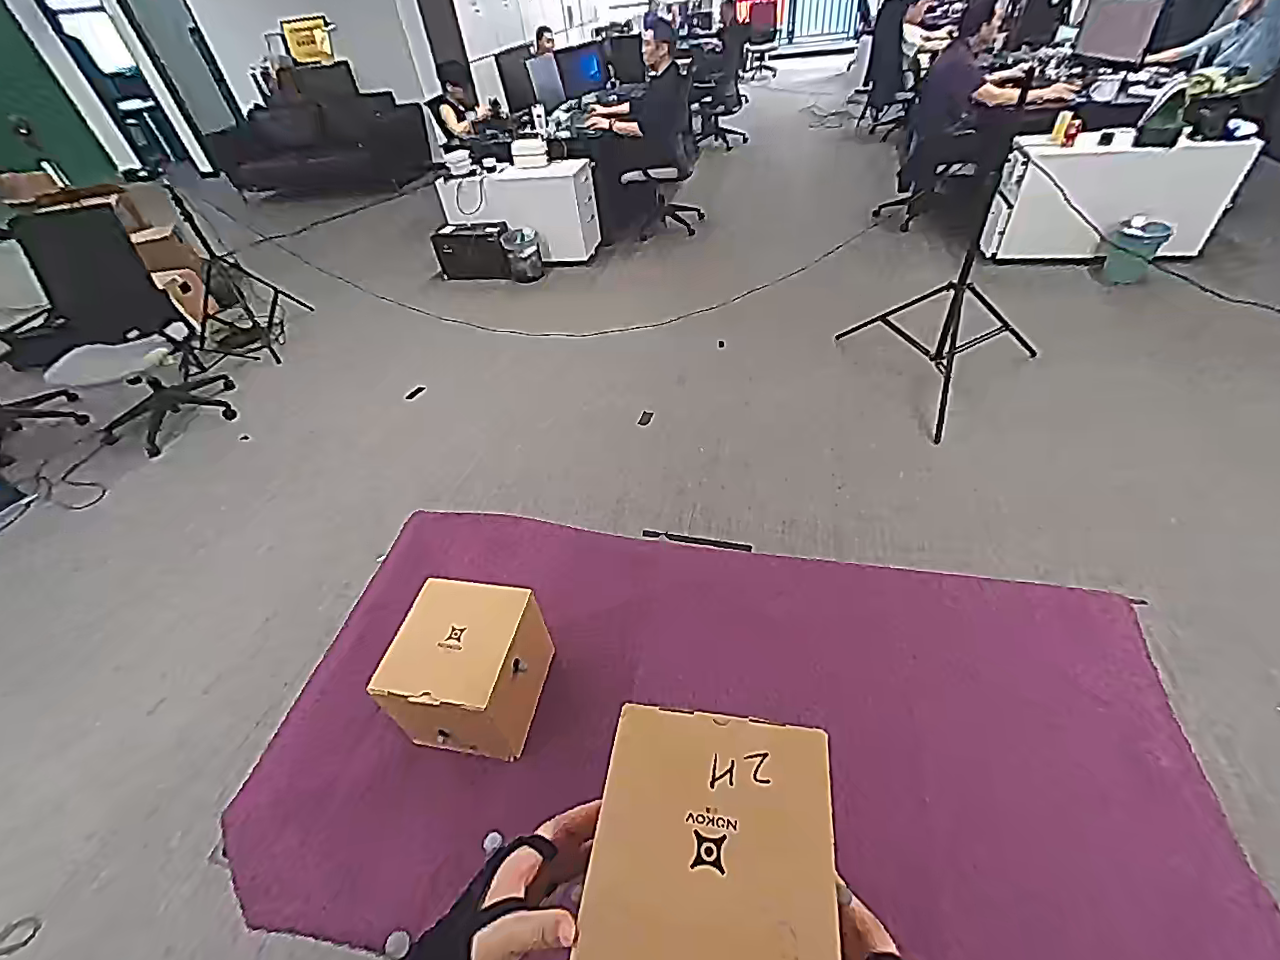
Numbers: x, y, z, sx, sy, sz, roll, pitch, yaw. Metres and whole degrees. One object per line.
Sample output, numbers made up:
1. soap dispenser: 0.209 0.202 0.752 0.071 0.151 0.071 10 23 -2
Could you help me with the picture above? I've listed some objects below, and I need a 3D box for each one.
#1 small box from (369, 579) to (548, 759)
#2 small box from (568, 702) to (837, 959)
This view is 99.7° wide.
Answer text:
1. small box: -0.241 0.269 0.775 0.168 0.176 0.179 4 45 11
2. small box: 0.058 0.307 0.428 0.168 0.176 0.179 3 43 12
